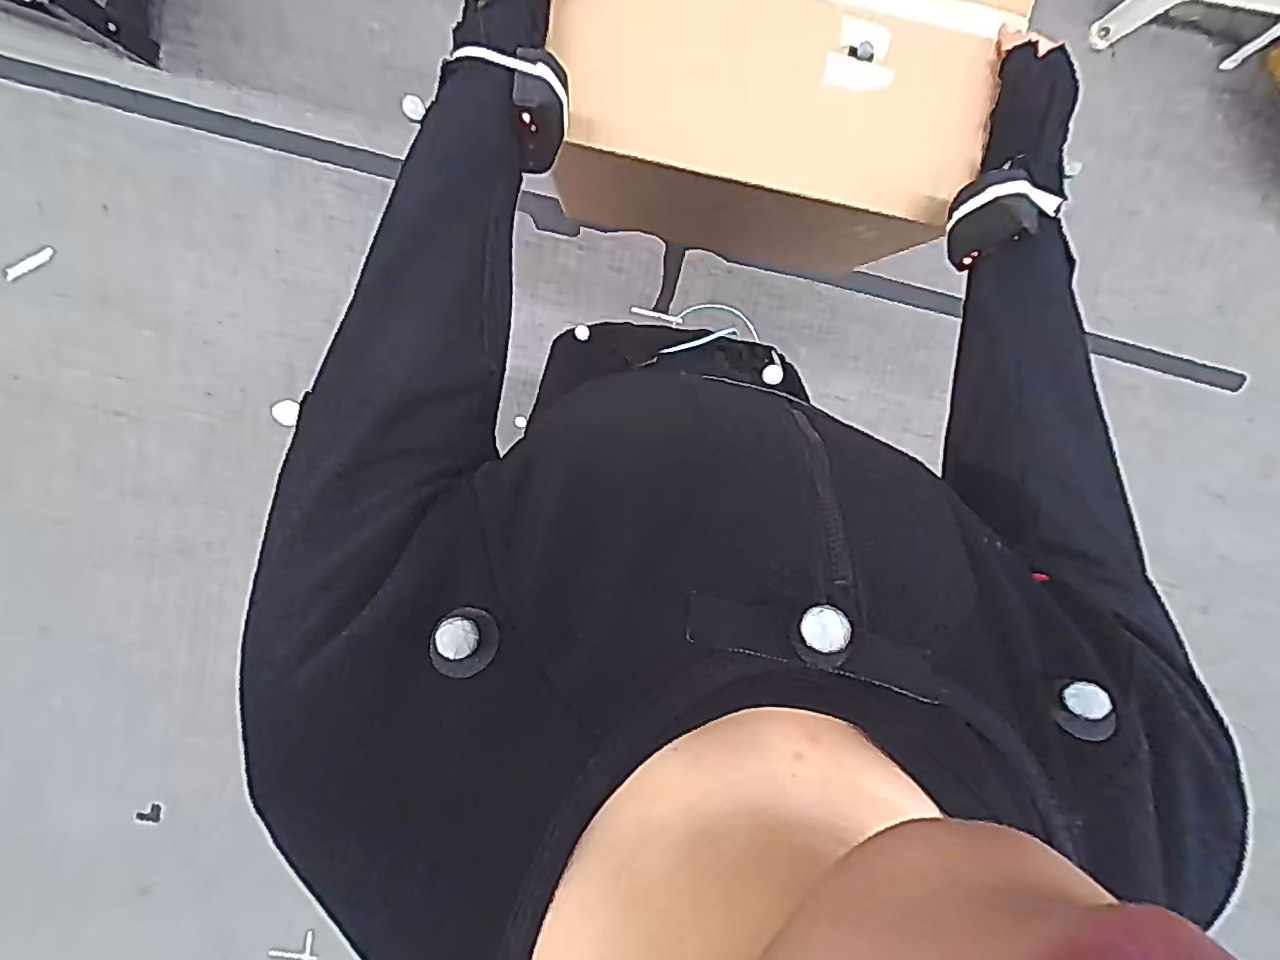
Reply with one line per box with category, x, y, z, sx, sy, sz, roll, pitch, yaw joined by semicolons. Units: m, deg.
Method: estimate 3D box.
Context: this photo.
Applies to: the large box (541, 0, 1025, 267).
large box;0.125;-0.456;0.603;0.408;0.320;0.320;11;104;-5
